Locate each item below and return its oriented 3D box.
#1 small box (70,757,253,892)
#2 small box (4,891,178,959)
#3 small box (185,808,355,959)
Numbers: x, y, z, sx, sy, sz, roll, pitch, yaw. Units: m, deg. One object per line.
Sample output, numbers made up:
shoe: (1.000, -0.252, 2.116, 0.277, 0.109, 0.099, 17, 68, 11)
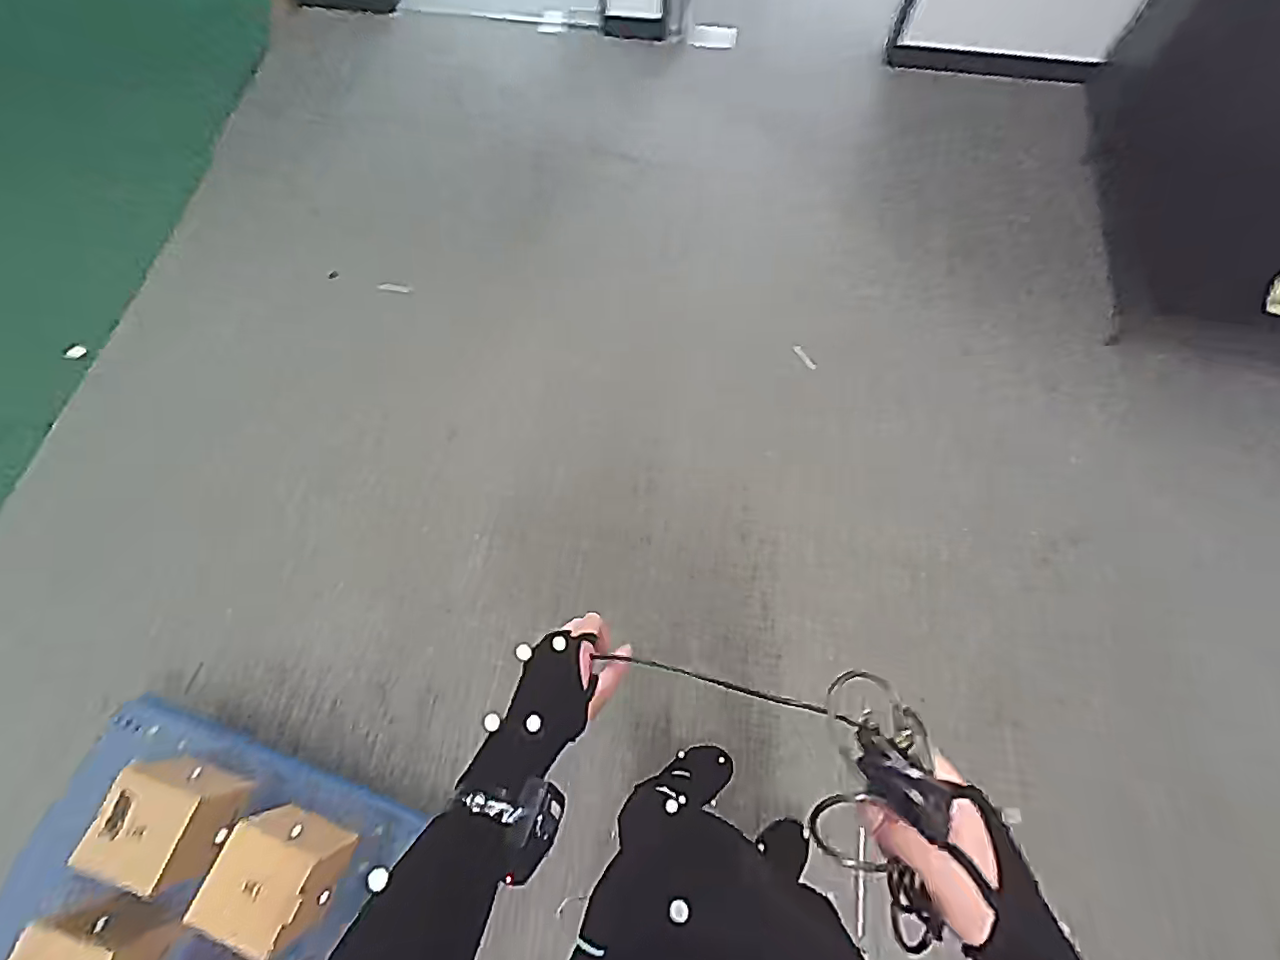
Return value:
small box: (-0.942, 0.674, 1.084, 0.179, 0.176, 0.168, 18, 71, 5)
small box: (-1.027, 0.901, 0.998, 0.179, 0.176, 0.168, 16, 69, 5)
small box: (-0.706, 0.767, 1.054, 0.179, 0.176, 0.168, 21, 70, 6)
